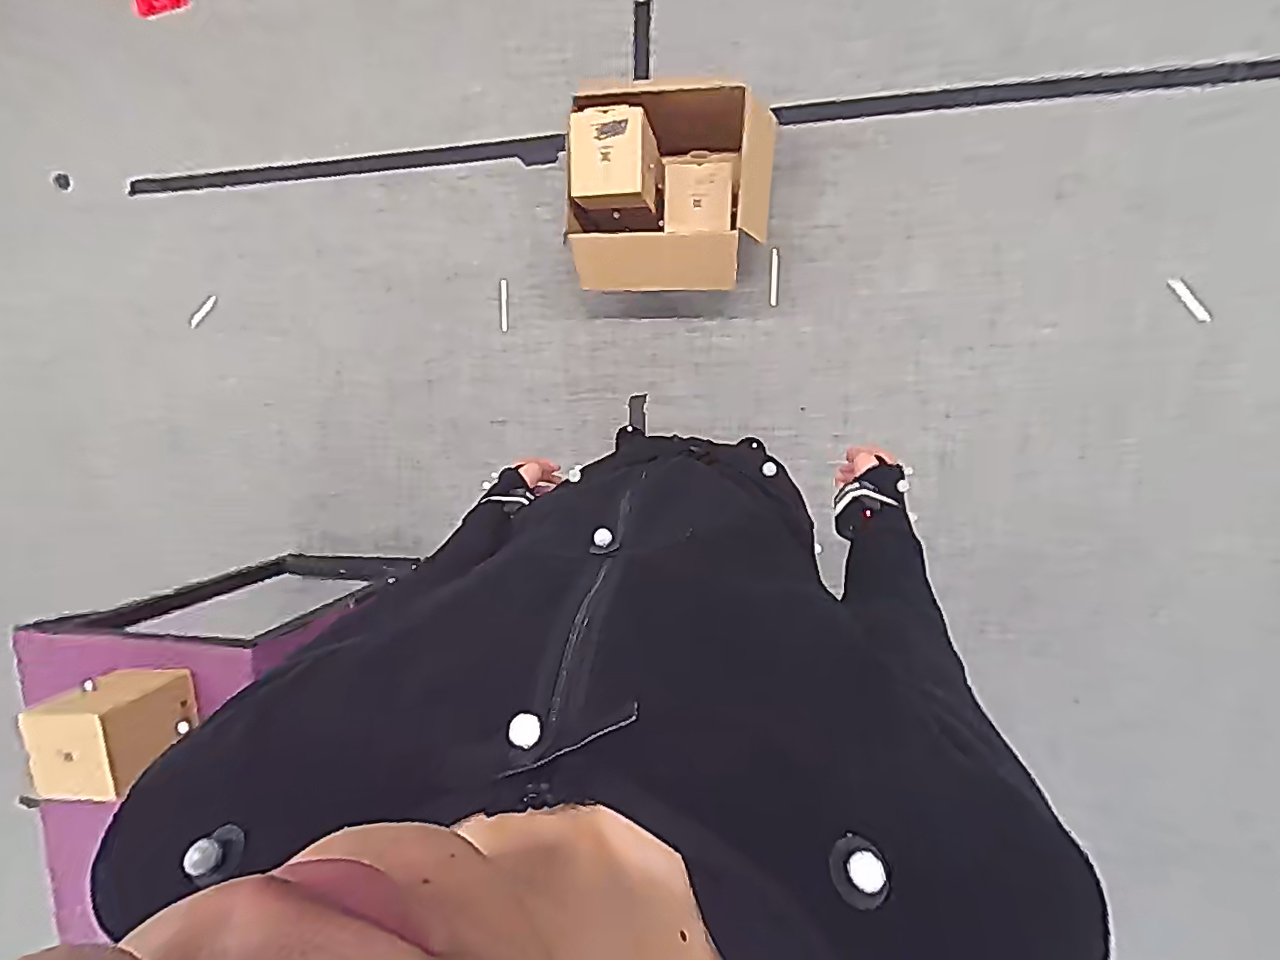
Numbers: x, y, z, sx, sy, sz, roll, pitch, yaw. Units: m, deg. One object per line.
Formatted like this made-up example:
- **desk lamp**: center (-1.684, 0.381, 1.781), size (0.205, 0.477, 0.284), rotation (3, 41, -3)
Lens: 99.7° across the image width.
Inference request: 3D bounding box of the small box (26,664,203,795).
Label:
- **small box**: center (-1.000, 0.470, 1.042), size (0.179, 0.176, 0.168), rotation (-2, 98, 11)
